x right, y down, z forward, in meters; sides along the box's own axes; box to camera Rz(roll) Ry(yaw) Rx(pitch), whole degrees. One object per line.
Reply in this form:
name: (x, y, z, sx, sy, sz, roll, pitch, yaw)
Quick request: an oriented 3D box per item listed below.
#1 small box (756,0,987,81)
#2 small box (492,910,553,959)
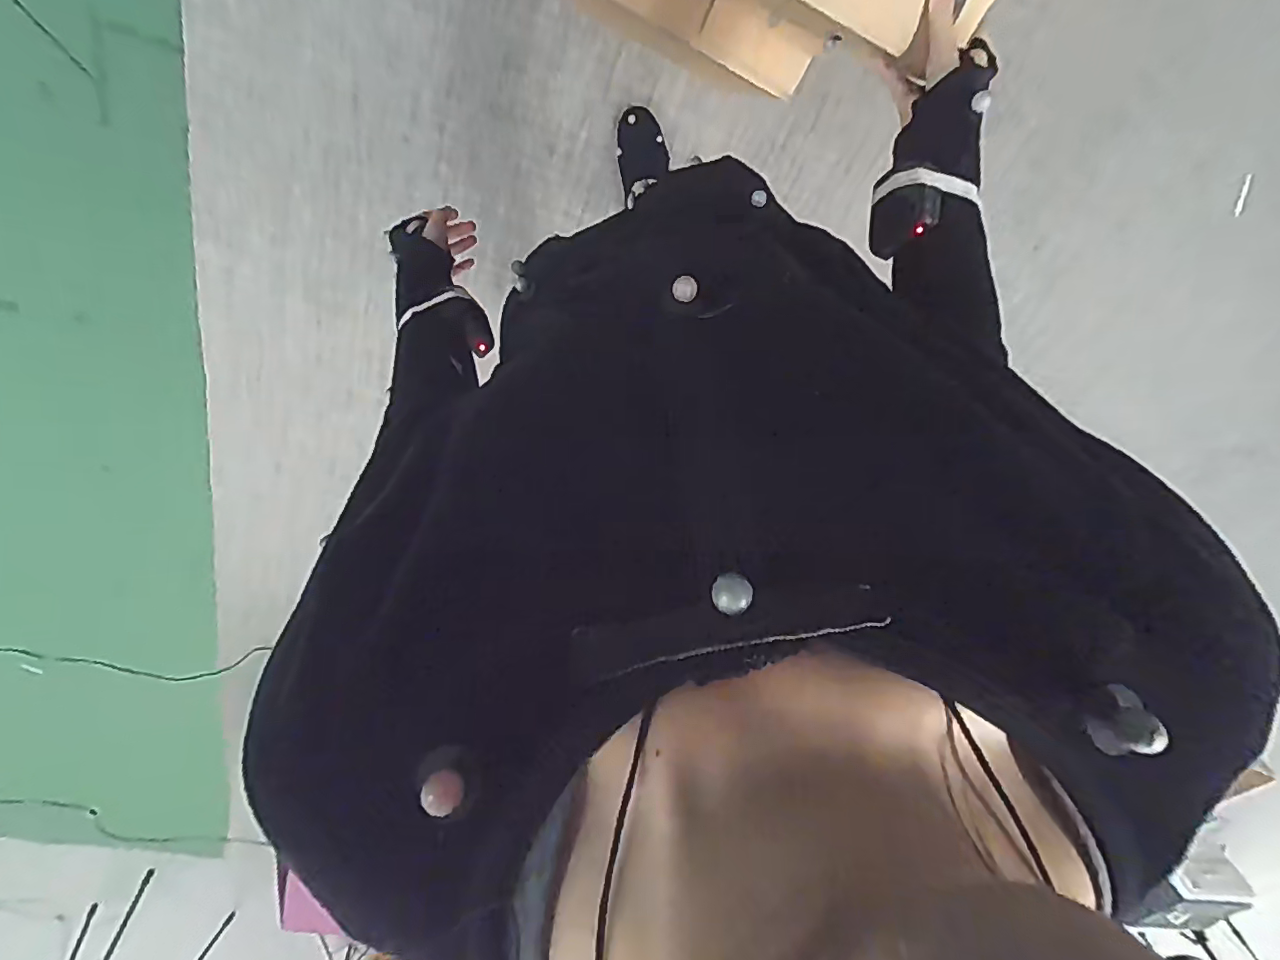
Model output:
small box: (0.223, -0.501, 0.489, 0.179, 0.176, 0.168, 15, 128, -15)
small box: (-0.410, 1.628, 1.882, 0.179, 0.176, 0.168, 17, 123, -13)
